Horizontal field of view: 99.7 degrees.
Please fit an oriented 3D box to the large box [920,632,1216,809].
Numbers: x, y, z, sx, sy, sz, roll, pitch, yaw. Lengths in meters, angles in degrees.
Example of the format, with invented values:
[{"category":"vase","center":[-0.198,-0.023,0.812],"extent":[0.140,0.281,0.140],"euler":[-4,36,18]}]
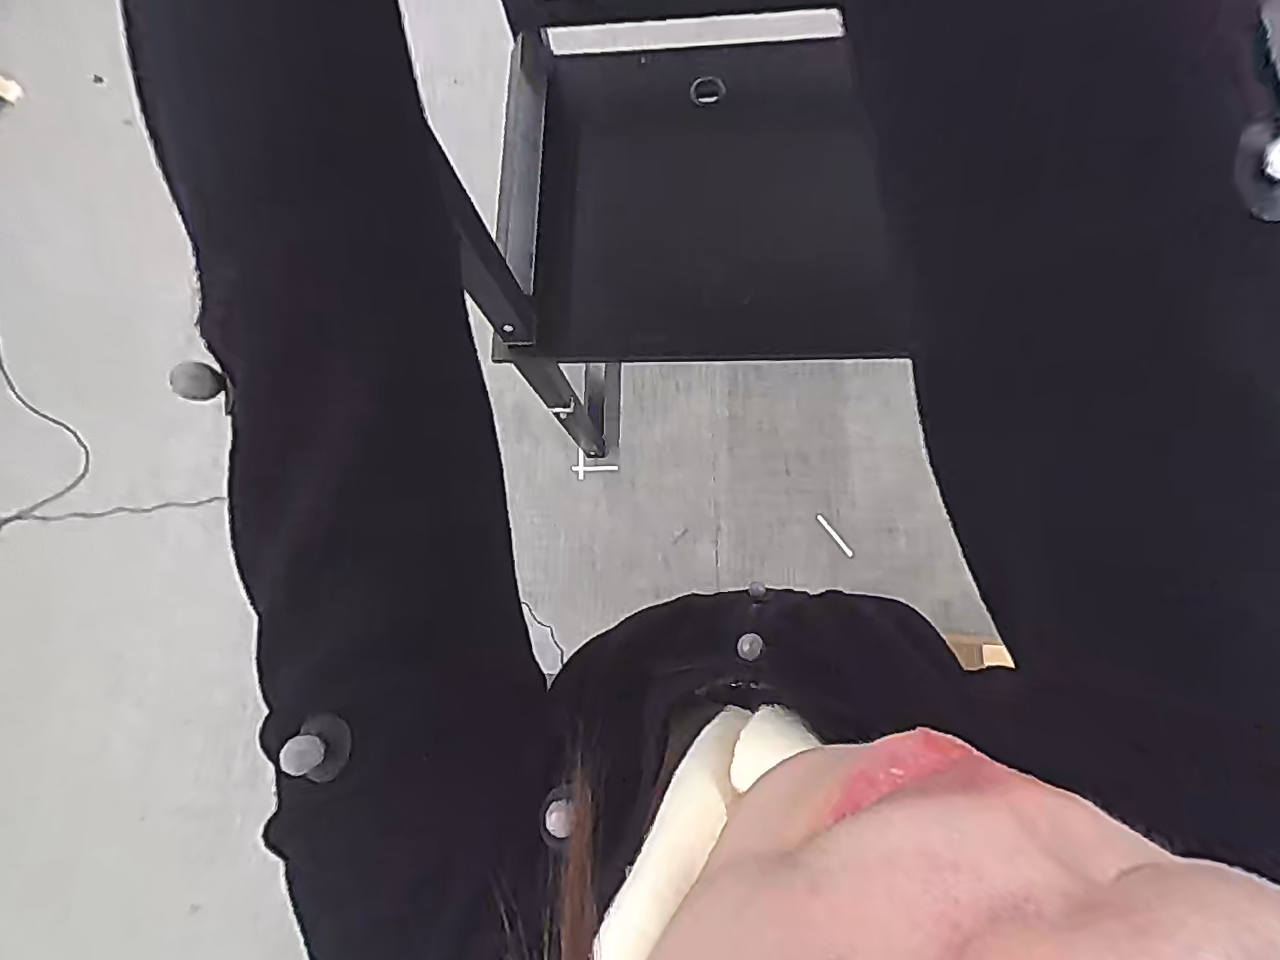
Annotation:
[{"category":"large box","center":[0.911,0.510,1.218],"extent":[0.408,0.320,0.320],"euler":[0,79,5]}]
